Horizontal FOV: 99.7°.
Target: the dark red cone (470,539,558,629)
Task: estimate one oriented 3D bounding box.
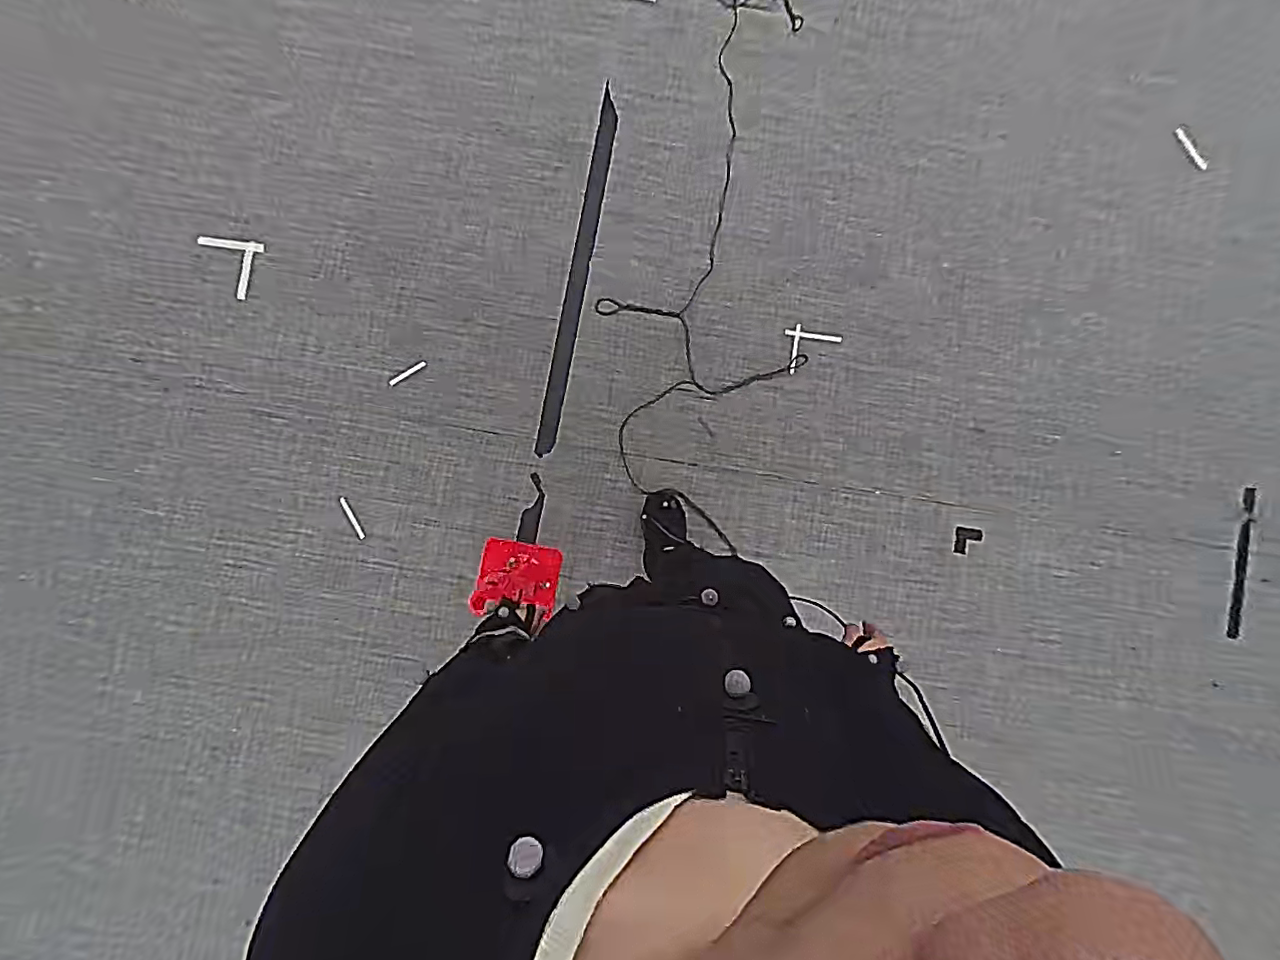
[{"bbox_3d":[-0.302,0.240,1.169,0.201,0.394,0.202,9,85,-2],"label":"dark red cone"}]
